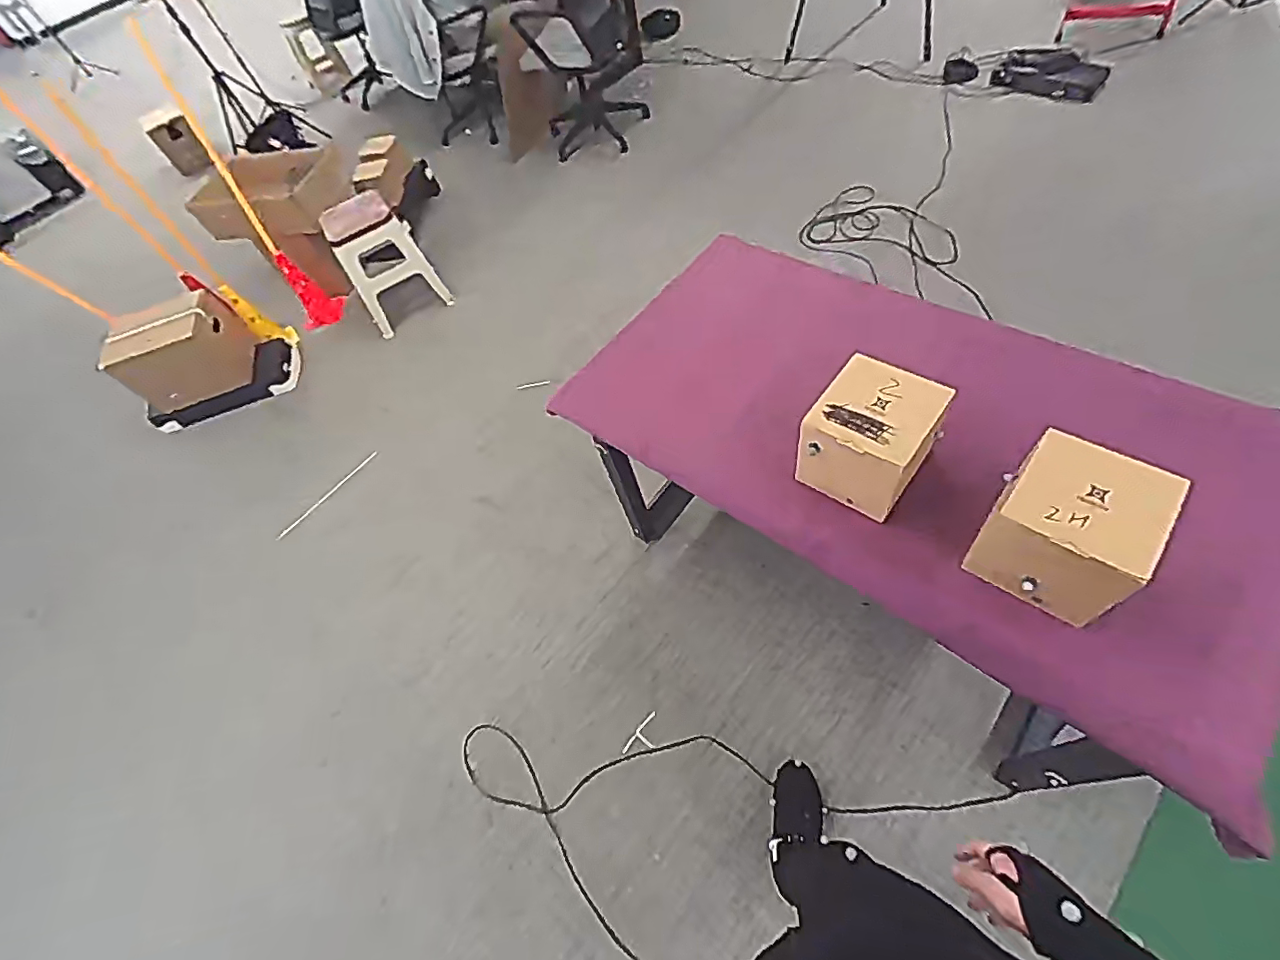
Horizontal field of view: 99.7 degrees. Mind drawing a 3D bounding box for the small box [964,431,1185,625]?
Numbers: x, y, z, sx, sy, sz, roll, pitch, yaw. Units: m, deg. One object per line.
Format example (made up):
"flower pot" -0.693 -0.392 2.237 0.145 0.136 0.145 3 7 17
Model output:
"small box" 0.595 0.071 0.765 0.168 0.176 0.179 32 69 28
